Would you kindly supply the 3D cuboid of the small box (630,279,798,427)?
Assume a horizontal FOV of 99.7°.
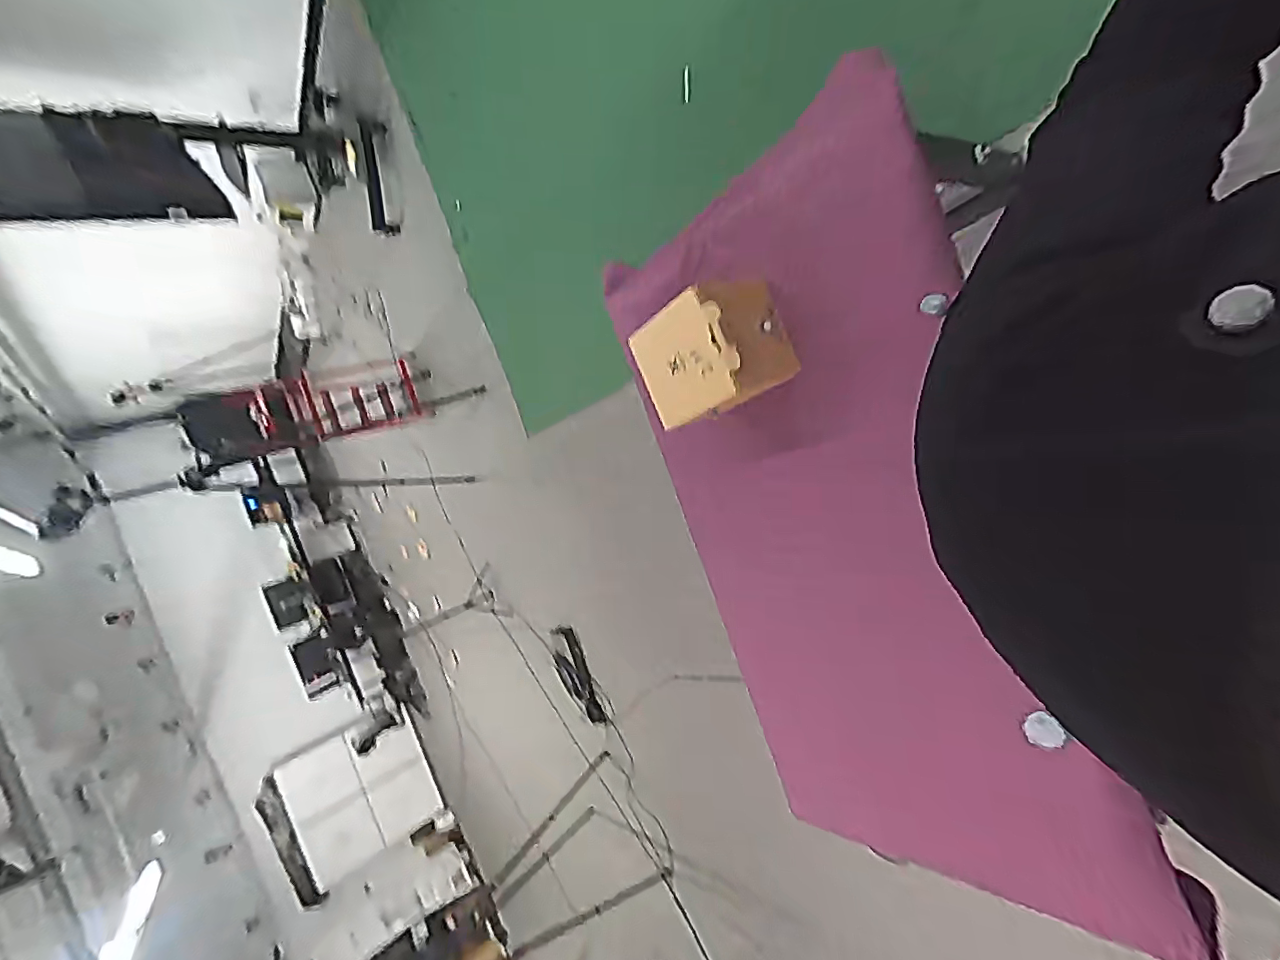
[{"bbox_3d":[0.120,-0.205,0.877,0.179,0.176,0.168,-23,91,52],"label":"small box"}]
